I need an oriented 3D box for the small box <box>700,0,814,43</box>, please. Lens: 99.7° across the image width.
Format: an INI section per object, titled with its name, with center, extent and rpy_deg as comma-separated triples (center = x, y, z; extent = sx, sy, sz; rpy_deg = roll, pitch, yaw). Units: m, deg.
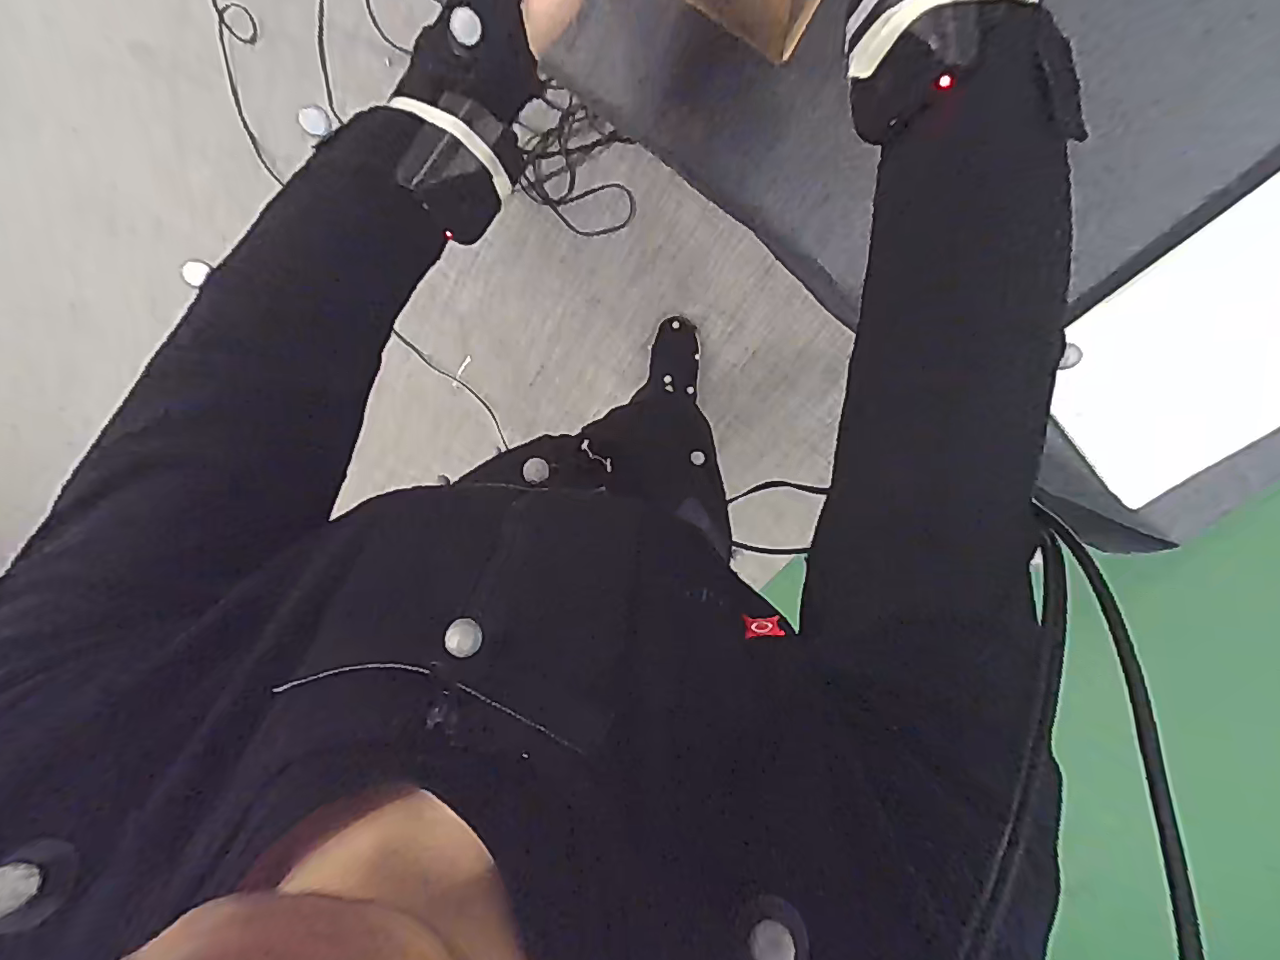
[small box]
center = 0.070, -0.420, 0.330
extent = 0.179, 0.176, 0.168
rpy_deg = 31, 115, -5
